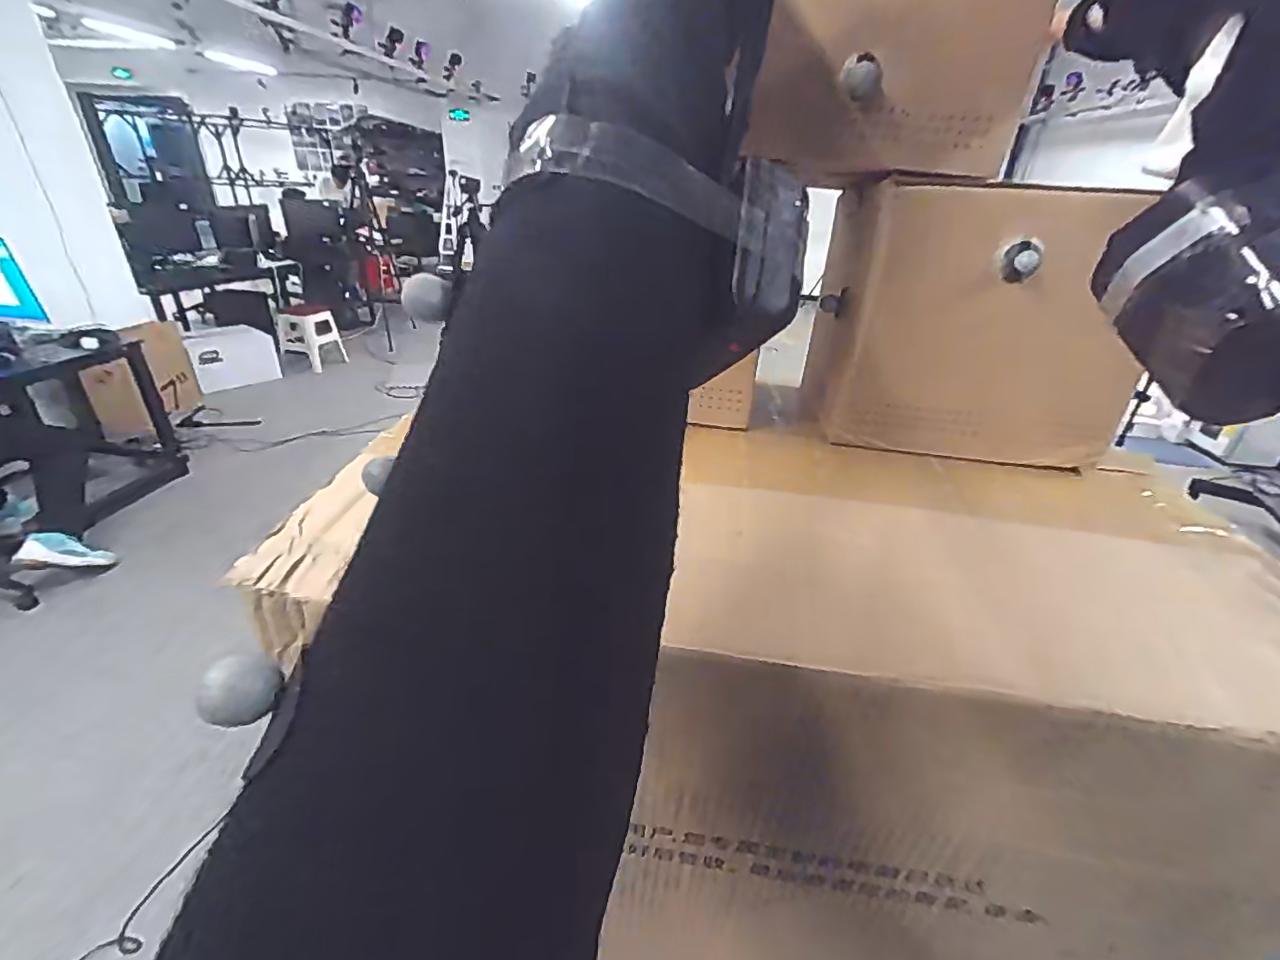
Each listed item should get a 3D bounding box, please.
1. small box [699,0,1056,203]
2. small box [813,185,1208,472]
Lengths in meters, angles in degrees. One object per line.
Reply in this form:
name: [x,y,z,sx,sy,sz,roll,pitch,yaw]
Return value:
small box: [0.144,-0.284,0.357,0.179,0.176,0.168,10,23,6]
small box: [0.239,-0.117,0.413,0.179,0.176,0.168,8,25,5]
